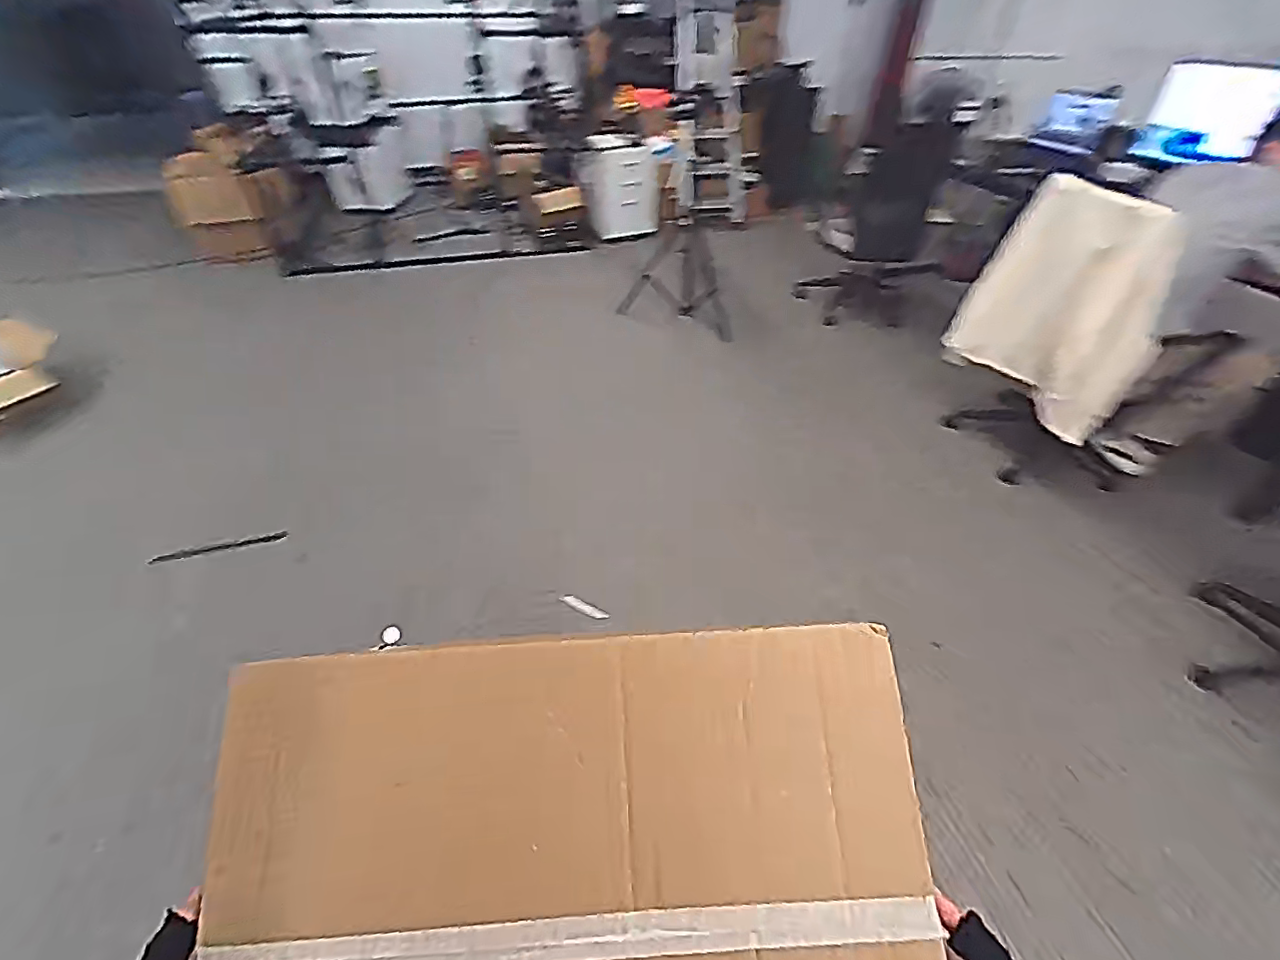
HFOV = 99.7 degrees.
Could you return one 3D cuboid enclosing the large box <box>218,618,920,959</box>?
[{"bbox_3d":[-0.043,0.295,0.452,0.408,0.320,0.320,-5,76,-1],"label":"large box"}]
